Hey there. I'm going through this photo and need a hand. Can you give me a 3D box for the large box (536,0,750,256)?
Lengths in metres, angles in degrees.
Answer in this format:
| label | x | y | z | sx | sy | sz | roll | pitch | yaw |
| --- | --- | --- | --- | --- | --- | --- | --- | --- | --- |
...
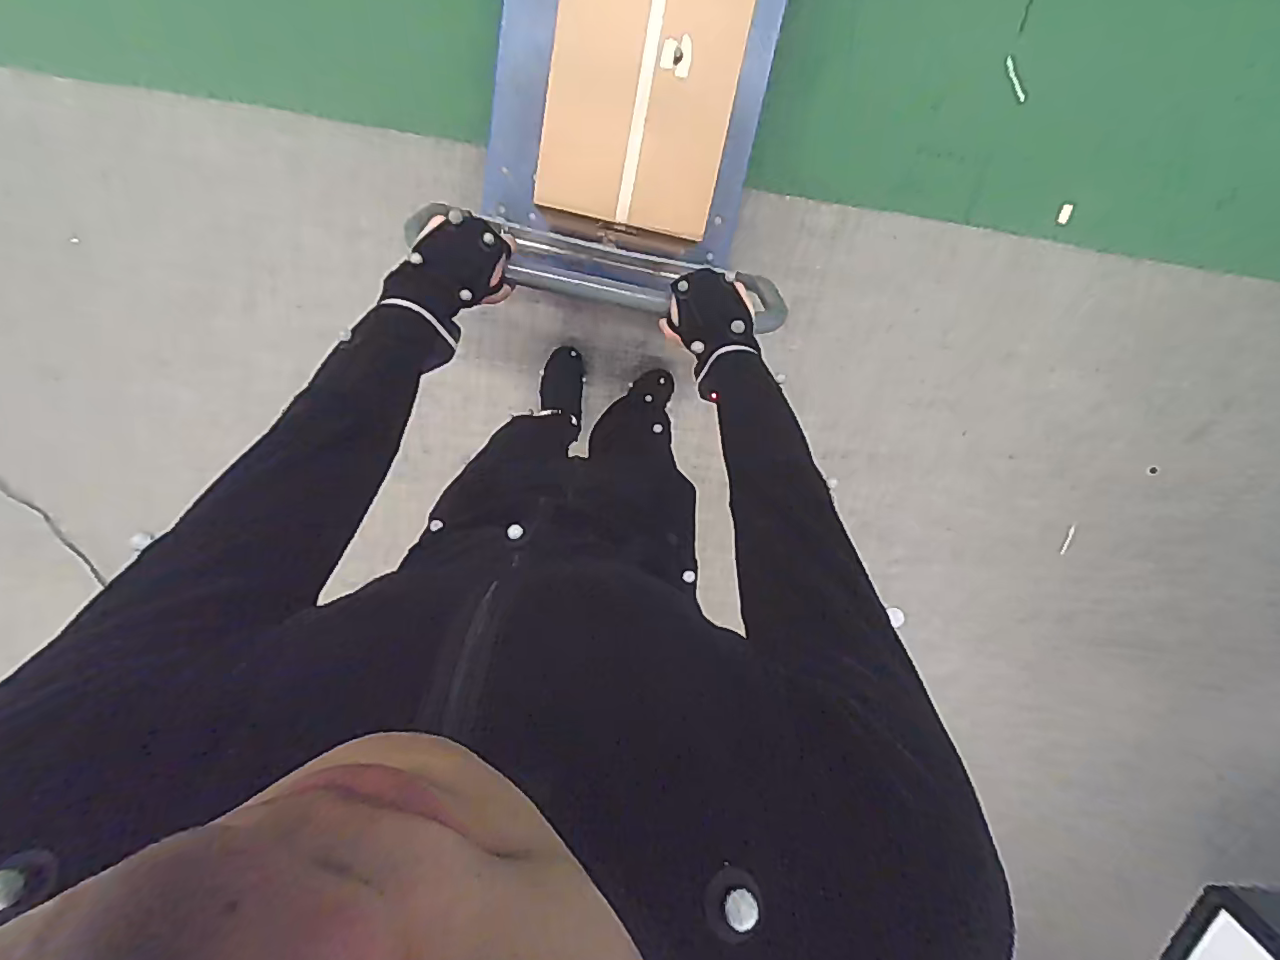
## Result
| label | x | y | z | sx | sy | sz | roll | pitch | yaw |
| --- | --- | --- | --- | --- | --- | --- | --- | --- | --- |
| large box | -0.012 | -0.692 | 1.064 | 0.320 | 0.320 | 0.408 | 9 | 107 | -8 |
